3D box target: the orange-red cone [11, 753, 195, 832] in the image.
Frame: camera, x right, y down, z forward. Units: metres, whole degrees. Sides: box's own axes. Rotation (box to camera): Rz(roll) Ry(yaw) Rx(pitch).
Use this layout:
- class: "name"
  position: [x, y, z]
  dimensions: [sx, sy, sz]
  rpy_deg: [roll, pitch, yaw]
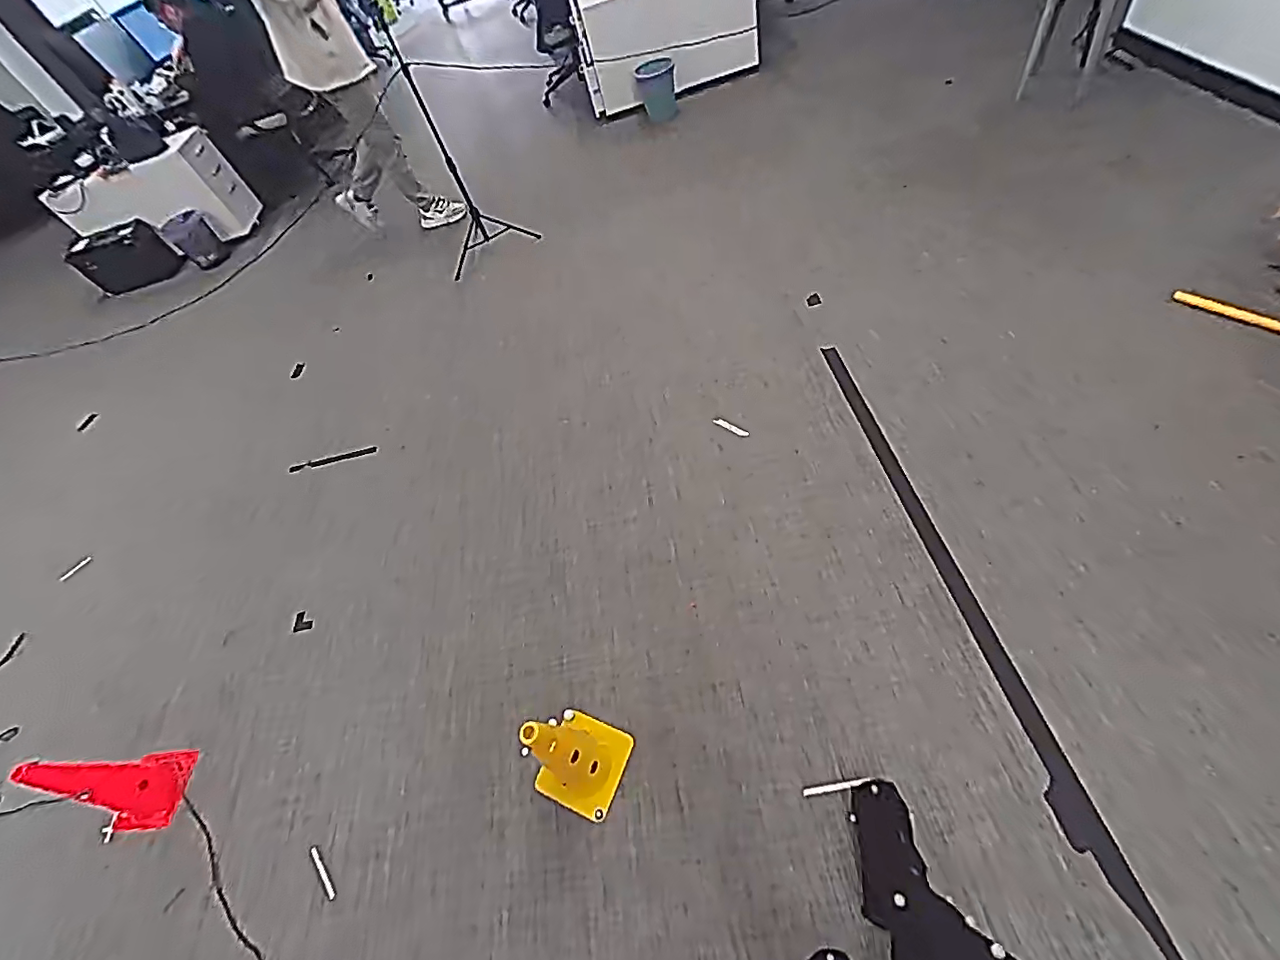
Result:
- class: "orange-red cone"
  position: [-1.440, 0.804, 1.428]
  dimensions: [0.199, 0.360, 0.198]
  rpy_deg: [-7, 54, 10]
